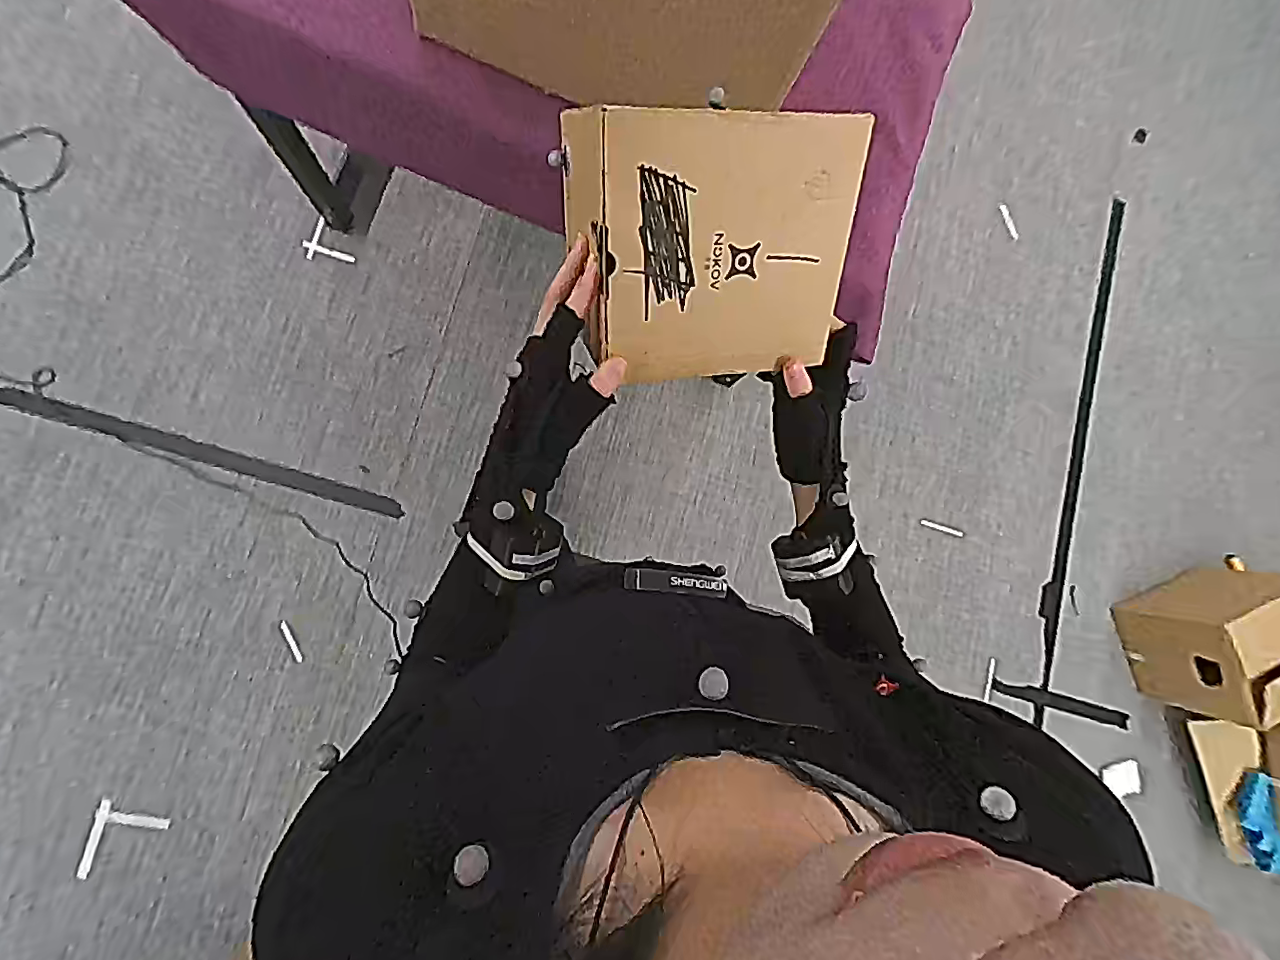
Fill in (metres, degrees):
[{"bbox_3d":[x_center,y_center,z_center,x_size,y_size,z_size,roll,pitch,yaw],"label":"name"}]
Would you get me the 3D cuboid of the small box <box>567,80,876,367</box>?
[{"bbox_3d":[0.039,-0.198,0.418,0.179,0.176,0.168,-7,124,-13],"label":"small box"}]
